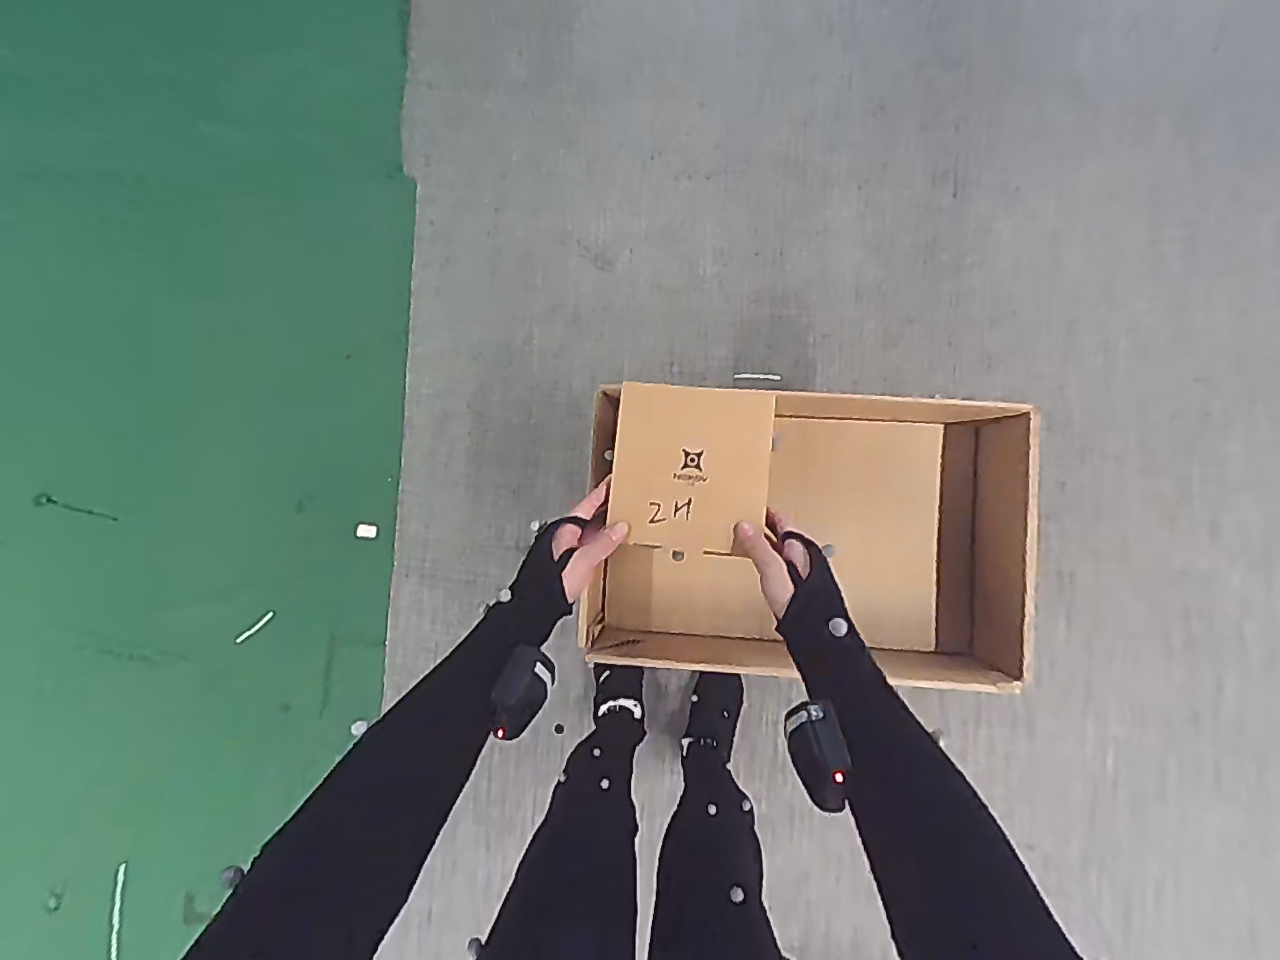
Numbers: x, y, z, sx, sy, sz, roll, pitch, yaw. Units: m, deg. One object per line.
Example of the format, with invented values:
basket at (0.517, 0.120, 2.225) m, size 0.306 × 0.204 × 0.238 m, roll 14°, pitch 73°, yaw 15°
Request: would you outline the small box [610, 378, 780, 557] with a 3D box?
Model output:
small box at (0.061, -0.008, 0.650) m, size 0.168 × 0.176 × 0.179 m, roll 7°, pitch 86°, yaw 3°
